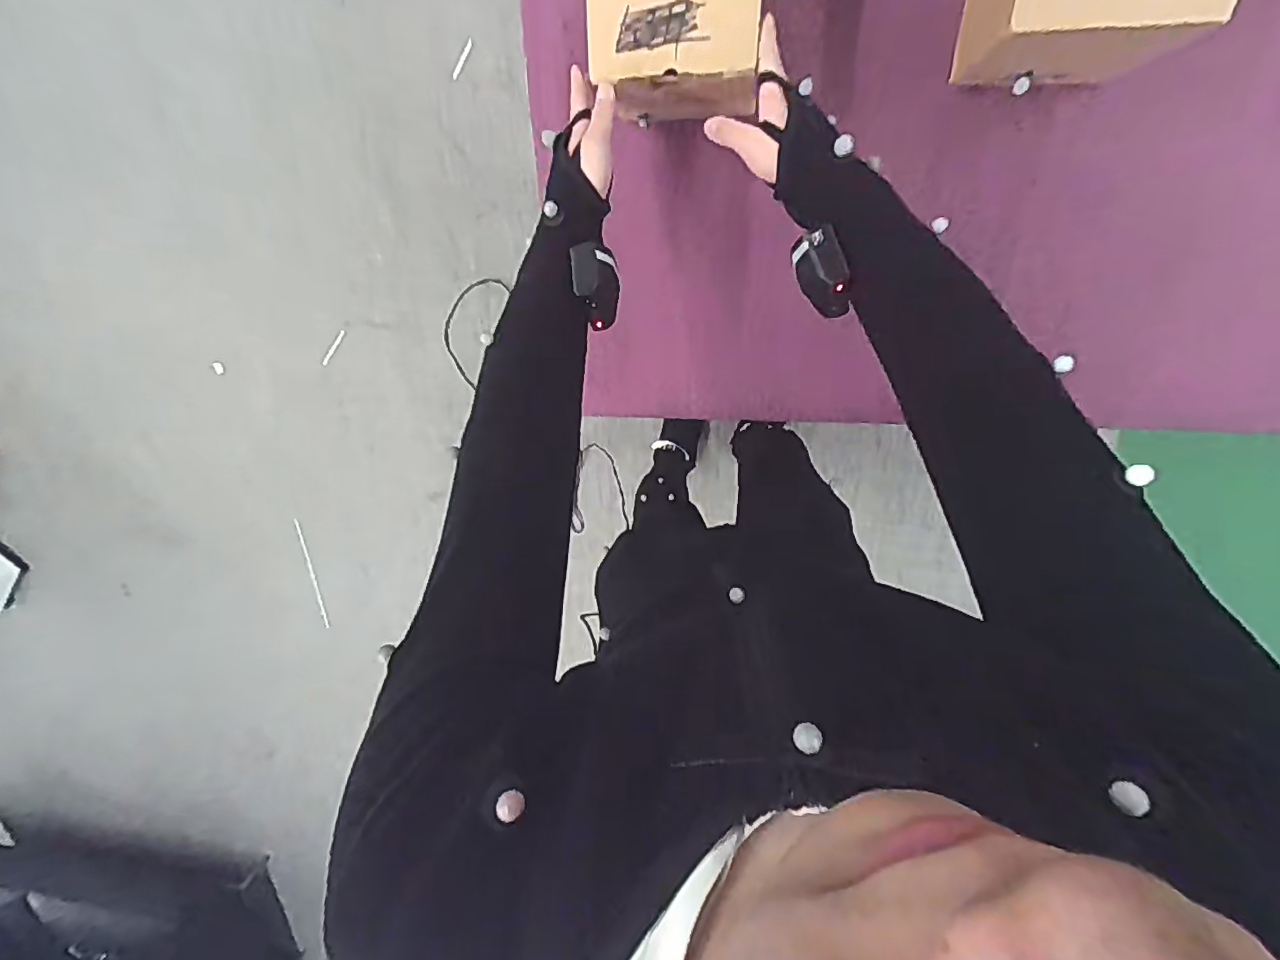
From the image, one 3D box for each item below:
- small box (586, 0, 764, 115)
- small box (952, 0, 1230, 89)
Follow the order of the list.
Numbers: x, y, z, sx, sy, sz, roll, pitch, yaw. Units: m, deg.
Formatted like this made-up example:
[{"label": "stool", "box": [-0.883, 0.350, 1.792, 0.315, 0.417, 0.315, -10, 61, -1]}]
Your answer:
[{"label": "small box", "box": [0.044, -0.499, 0.565, 0.168, 0.176, 0.179, 4, 112, 9]}, {"label": "small box", "box": [0.415, -0.489, 0.498, 0.168, 0.176, 0.179, 6, 113, 10]}]
